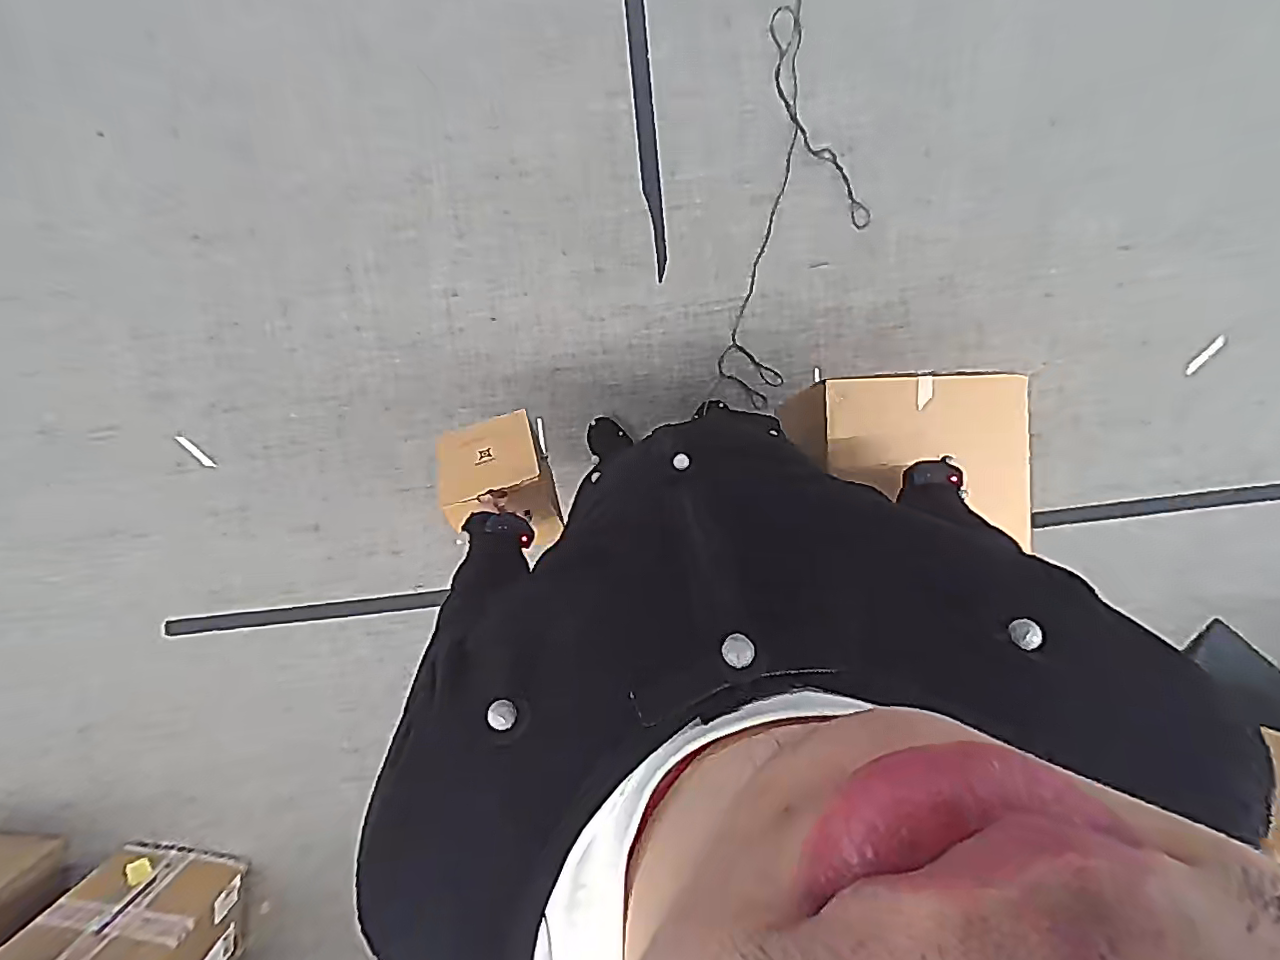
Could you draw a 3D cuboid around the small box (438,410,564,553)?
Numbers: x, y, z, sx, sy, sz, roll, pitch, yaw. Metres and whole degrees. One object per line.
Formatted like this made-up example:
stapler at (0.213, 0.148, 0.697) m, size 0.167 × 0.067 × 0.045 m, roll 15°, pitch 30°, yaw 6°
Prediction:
small box at (-0.245, 0.011, 0.968) m, size 0.168 × 0.179 × 0.176 m, roll -18°, pitch 141°, yaw -4°
